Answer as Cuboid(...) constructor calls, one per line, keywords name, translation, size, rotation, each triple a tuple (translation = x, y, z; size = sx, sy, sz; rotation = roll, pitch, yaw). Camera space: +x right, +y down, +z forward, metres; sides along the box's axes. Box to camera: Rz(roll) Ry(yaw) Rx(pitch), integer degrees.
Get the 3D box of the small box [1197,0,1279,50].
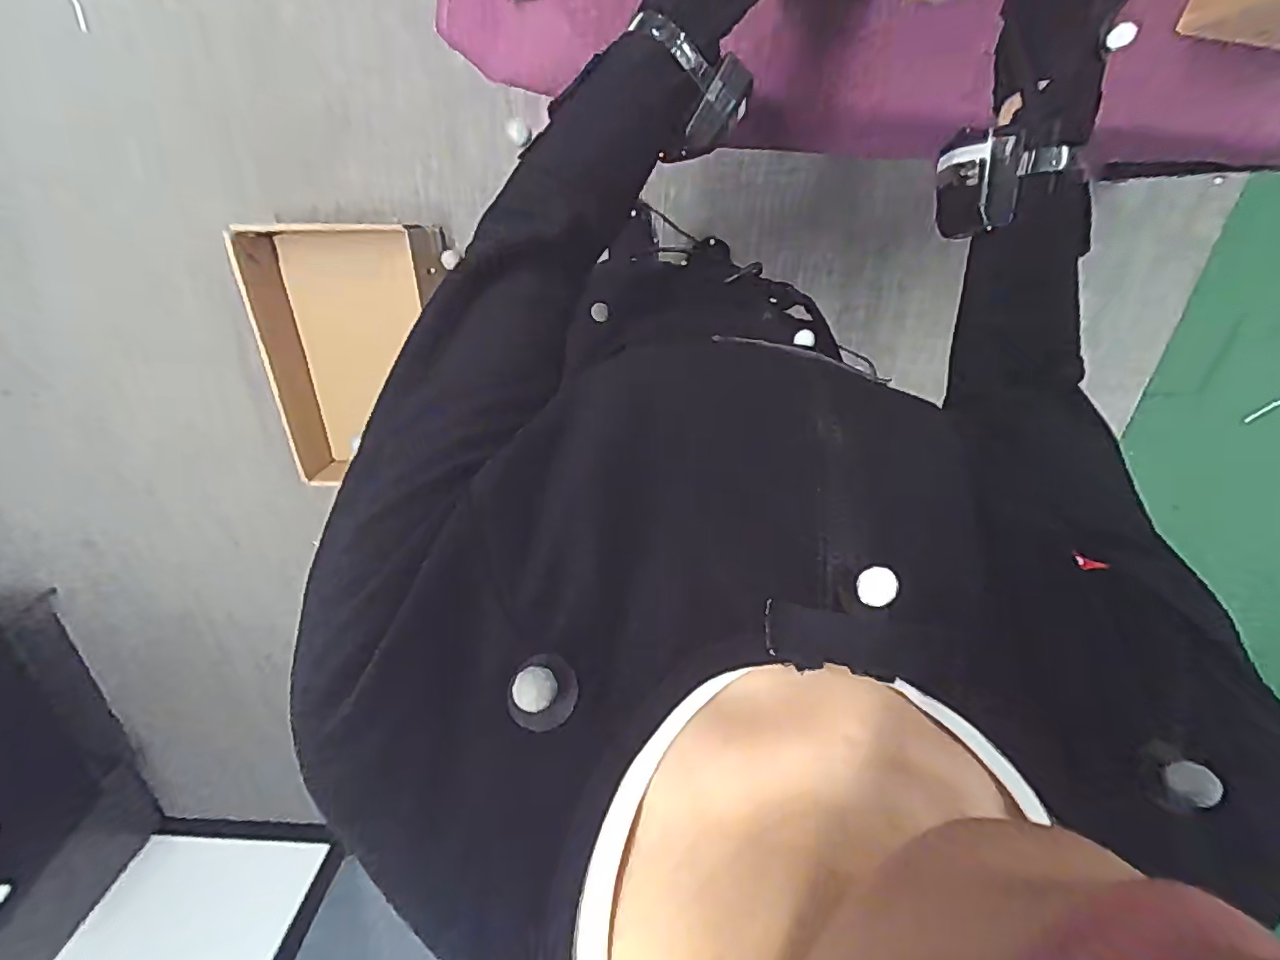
Cuboid(name="small box", translation=(0.607, -0.452, 0.414), size=(0.168, 0.176, 0.179), rotation=(8, 117, -2))
